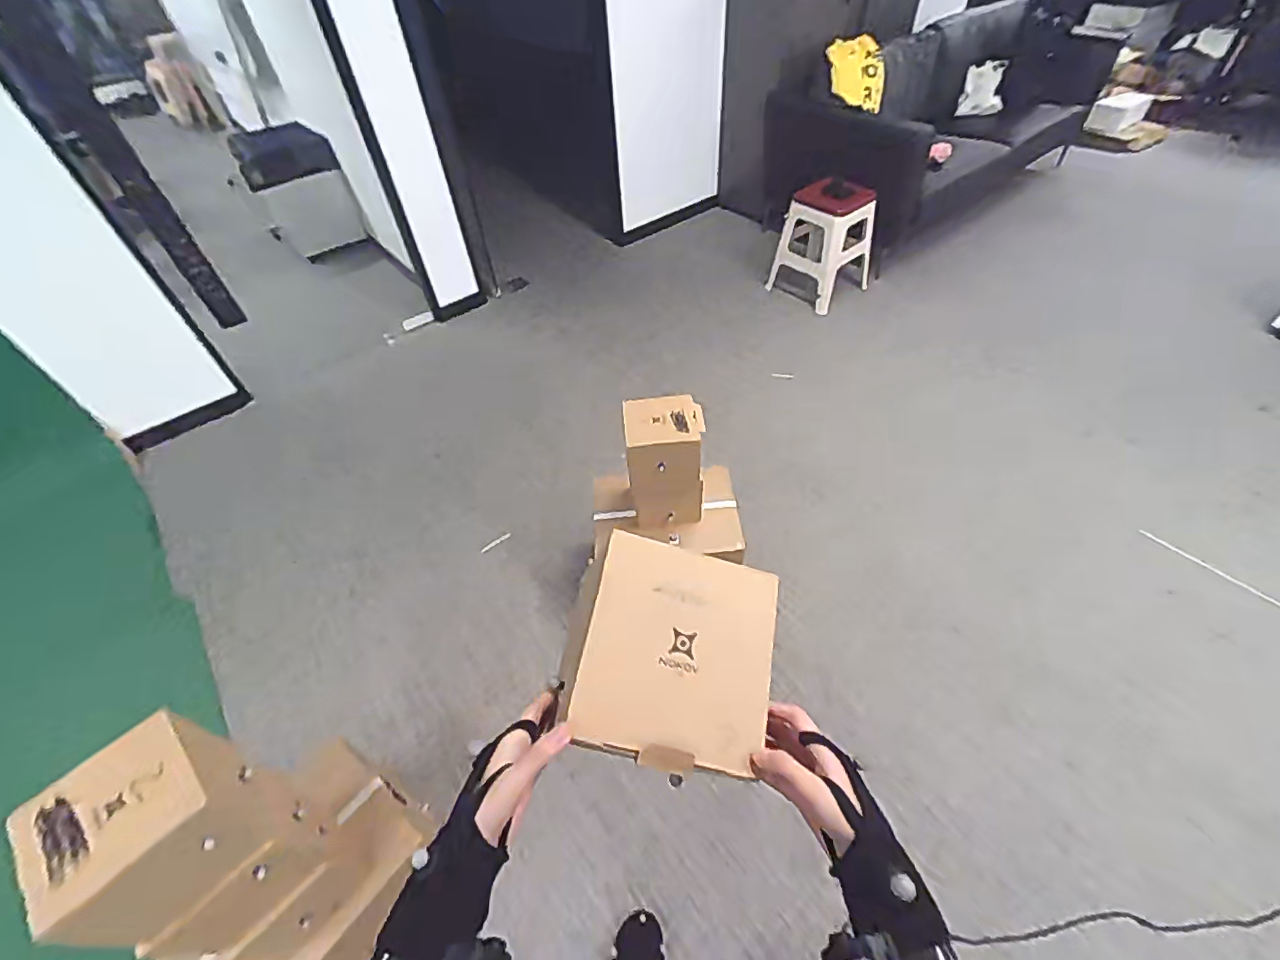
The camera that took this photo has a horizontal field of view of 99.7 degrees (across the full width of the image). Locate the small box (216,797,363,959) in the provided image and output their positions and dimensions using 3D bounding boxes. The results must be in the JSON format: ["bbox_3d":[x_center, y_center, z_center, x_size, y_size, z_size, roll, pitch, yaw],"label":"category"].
[{"bbox_3d":[-0.613,0.669,0.923,0.179,0.176,0.168,34,58,28],"label":"small box"}]

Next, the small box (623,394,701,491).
[{"bbox_3d":[0.052,-0.090,1.339,0.179,0.176,0.168,-6,48,0],"label":"small box"}]

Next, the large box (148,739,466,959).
[{"bbox_3d":[-0.642,0.834,1.107,0.320,0.320,0.408,28,57,26],"label":"large box"}]

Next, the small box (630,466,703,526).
[{"bbox_3d":[0.065,0.007,1.473,0.179,0.176,0.168,-8,47,-5],"label":"small box"}]

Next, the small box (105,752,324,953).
[{"bbox_3d":[-0.622,0.556,0.808,0.168,0.176,0.179,35,58,29],"label":"small box"}]

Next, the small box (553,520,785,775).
[{"bbox_3d":[0.020,0.166,0.525,0.168,0.176,0.179,18,62,-8],"label":"small box"}]
